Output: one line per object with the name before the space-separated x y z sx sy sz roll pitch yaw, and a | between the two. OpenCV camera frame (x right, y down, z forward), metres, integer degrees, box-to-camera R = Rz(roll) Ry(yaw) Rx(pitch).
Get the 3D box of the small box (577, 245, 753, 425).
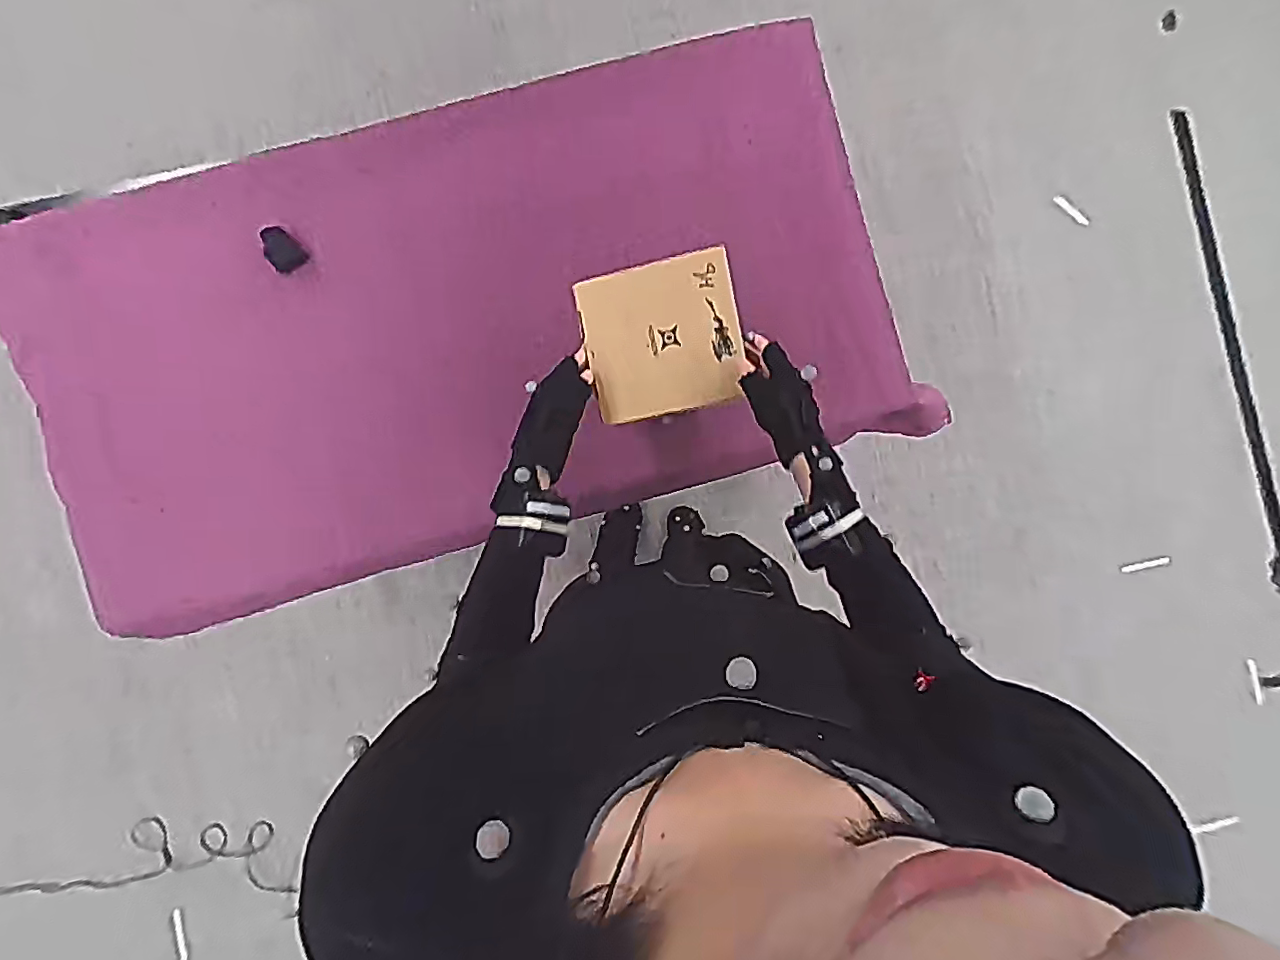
small box | 0.038 -0.164 0.673 0.179 0.176 0.168 -10 93 9
